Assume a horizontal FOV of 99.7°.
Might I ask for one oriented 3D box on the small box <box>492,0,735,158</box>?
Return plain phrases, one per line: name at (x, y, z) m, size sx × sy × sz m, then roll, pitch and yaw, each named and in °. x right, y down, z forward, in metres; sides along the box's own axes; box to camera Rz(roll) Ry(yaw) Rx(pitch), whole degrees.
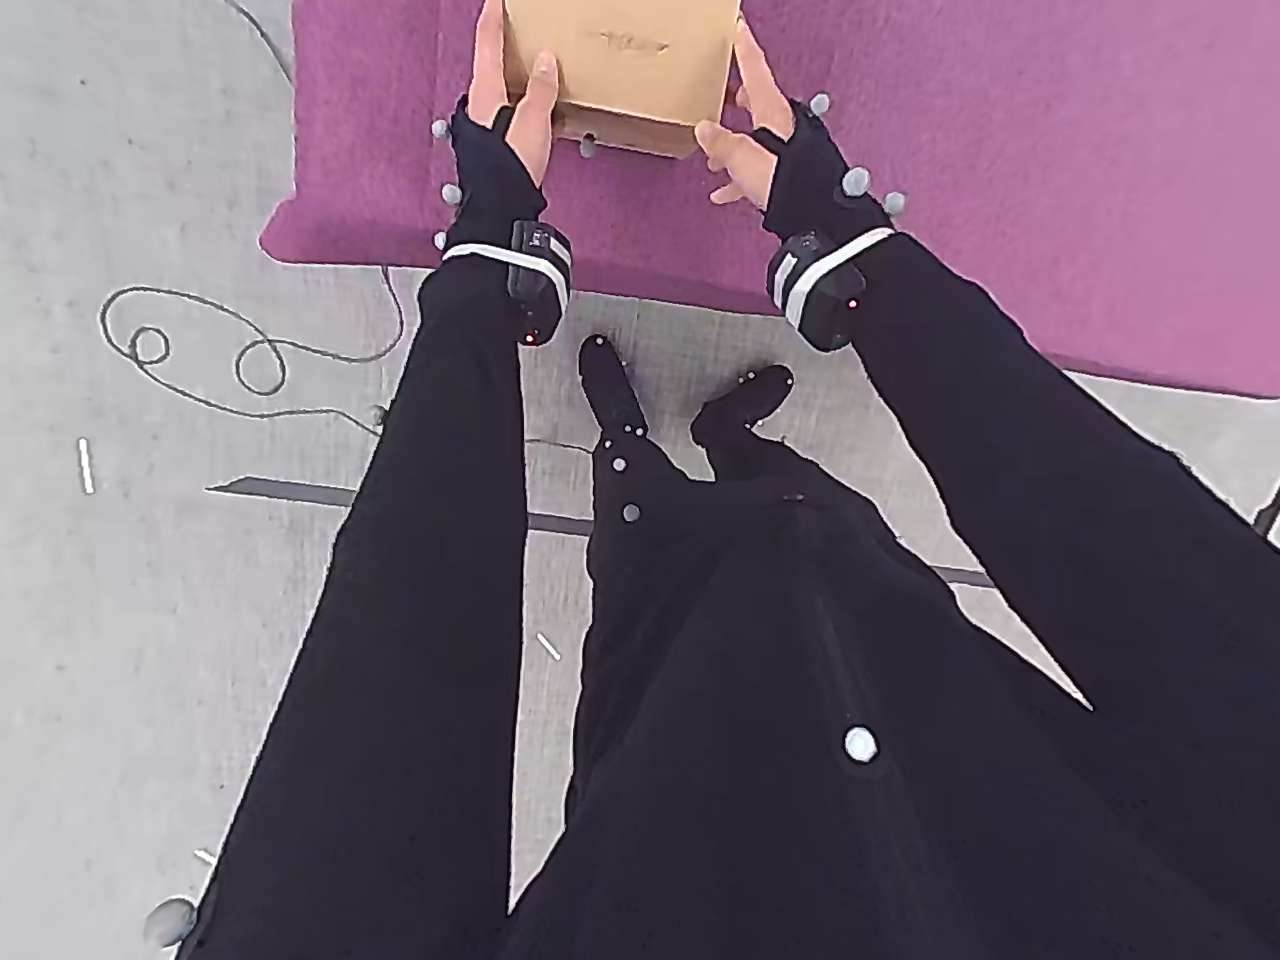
small box at (-0.019, -0.383, 0.435) m, size 0.168 × 0.176 × 0.179 m, roll 6°, pitch 113°, yaw -7°
